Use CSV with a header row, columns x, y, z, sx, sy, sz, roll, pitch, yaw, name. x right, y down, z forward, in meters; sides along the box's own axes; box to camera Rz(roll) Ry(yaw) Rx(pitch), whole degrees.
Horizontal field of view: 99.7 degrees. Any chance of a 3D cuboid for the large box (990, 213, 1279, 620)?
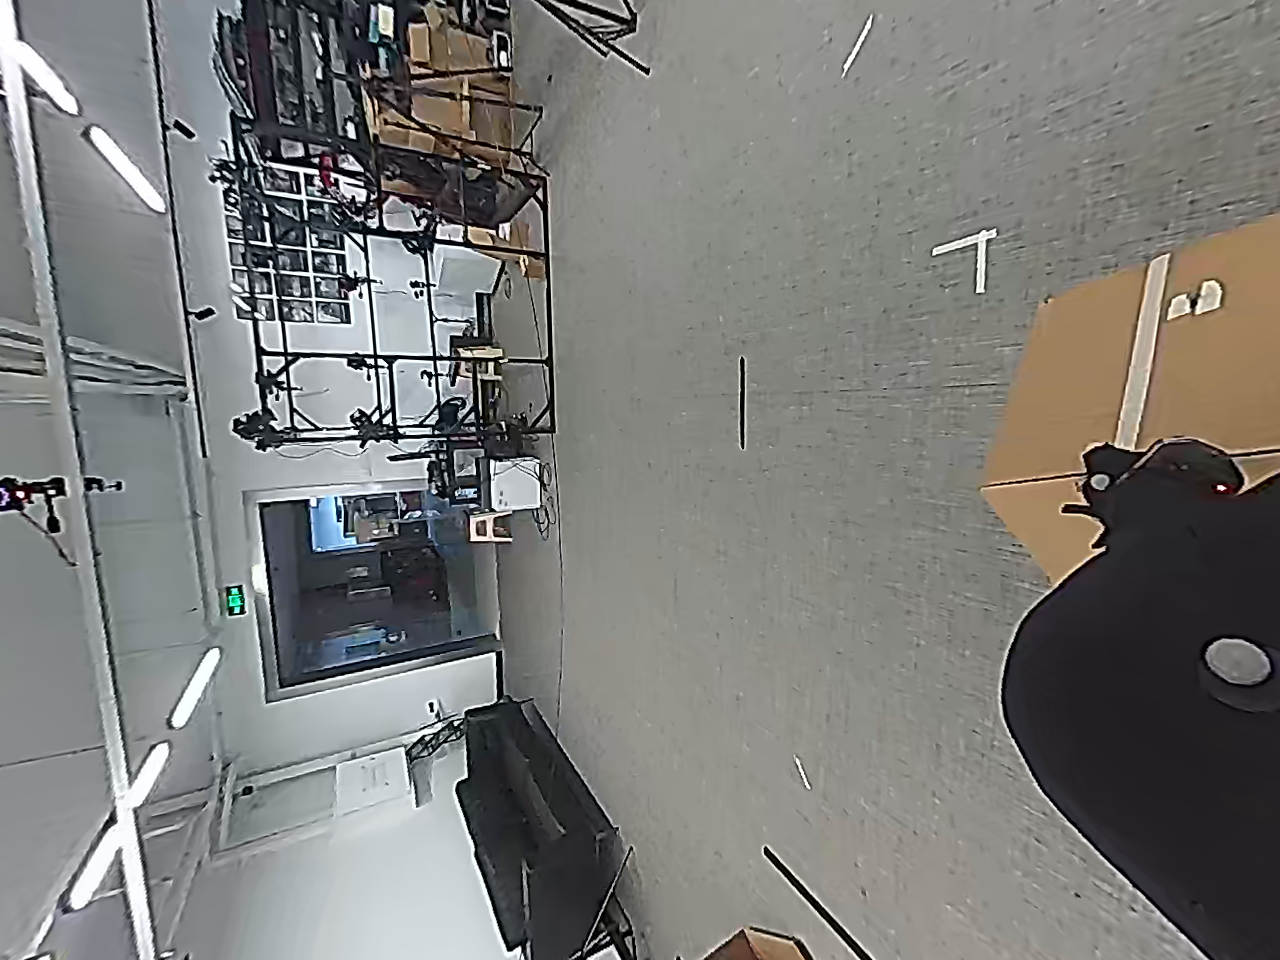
x,y,z,sx,sy,sz,roll,pitch,yaw,name
0.745,-0.067,0.719,0.408,0.320,0.320,-56,20,-24,large box
